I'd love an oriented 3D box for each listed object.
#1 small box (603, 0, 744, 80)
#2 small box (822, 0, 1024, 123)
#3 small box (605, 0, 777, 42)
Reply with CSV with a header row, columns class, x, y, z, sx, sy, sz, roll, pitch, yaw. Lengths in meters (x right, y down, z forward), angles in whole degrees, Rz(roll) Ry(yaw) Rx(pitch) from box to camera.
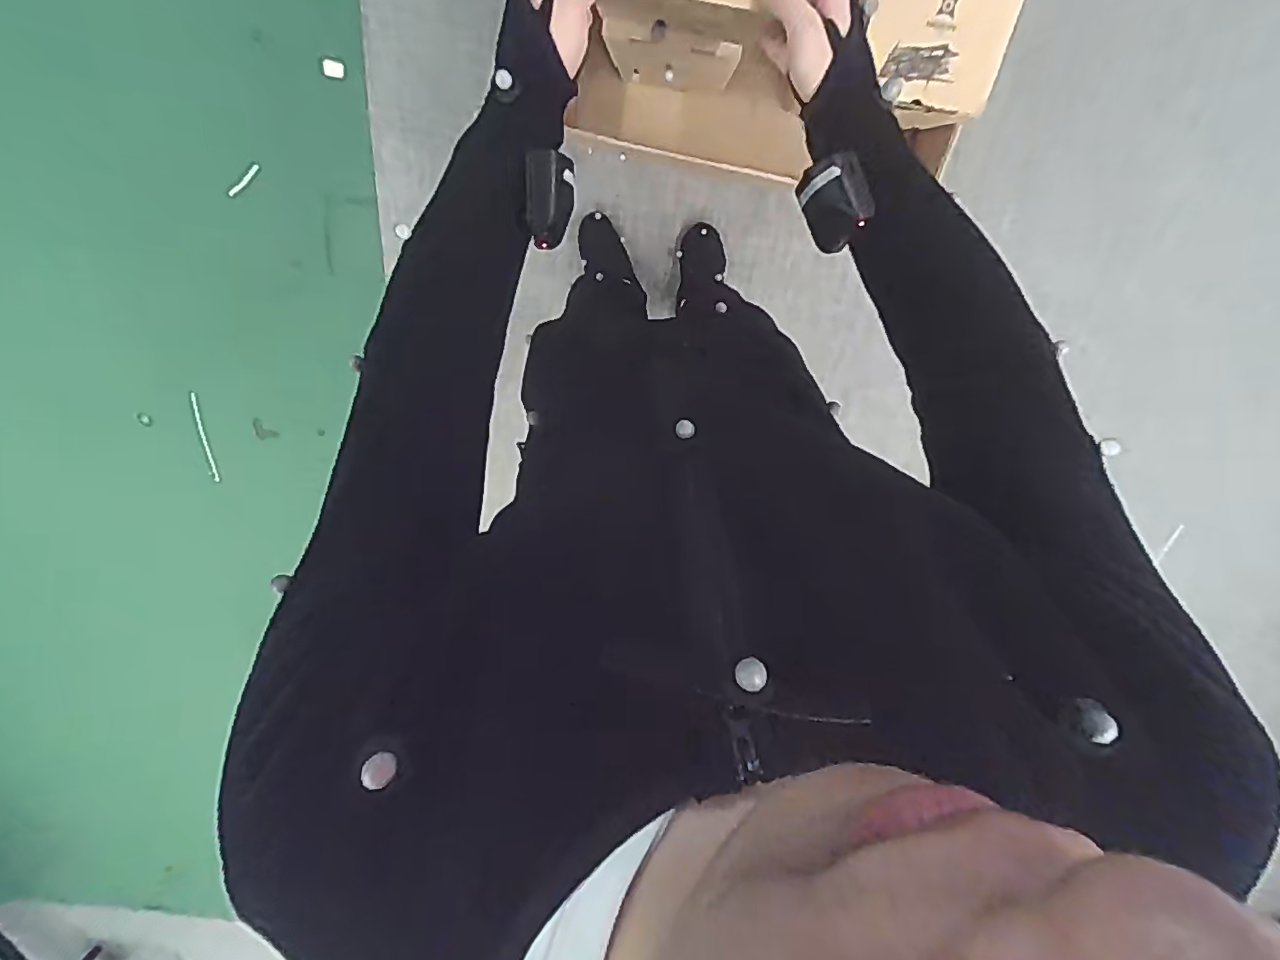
class,x,y,z,sx,sy,sz,roll,pitch,yaw
small box,0.052,-0.617,0.654,0.168,0.176,0.179,9,118,-2
small box,0.343,-0.562,0.673,0.168,0.176,0.179,8,118,-2
small box,0.049,-0.517,0.467,0.168,0.176,0.179,9,121,-4
